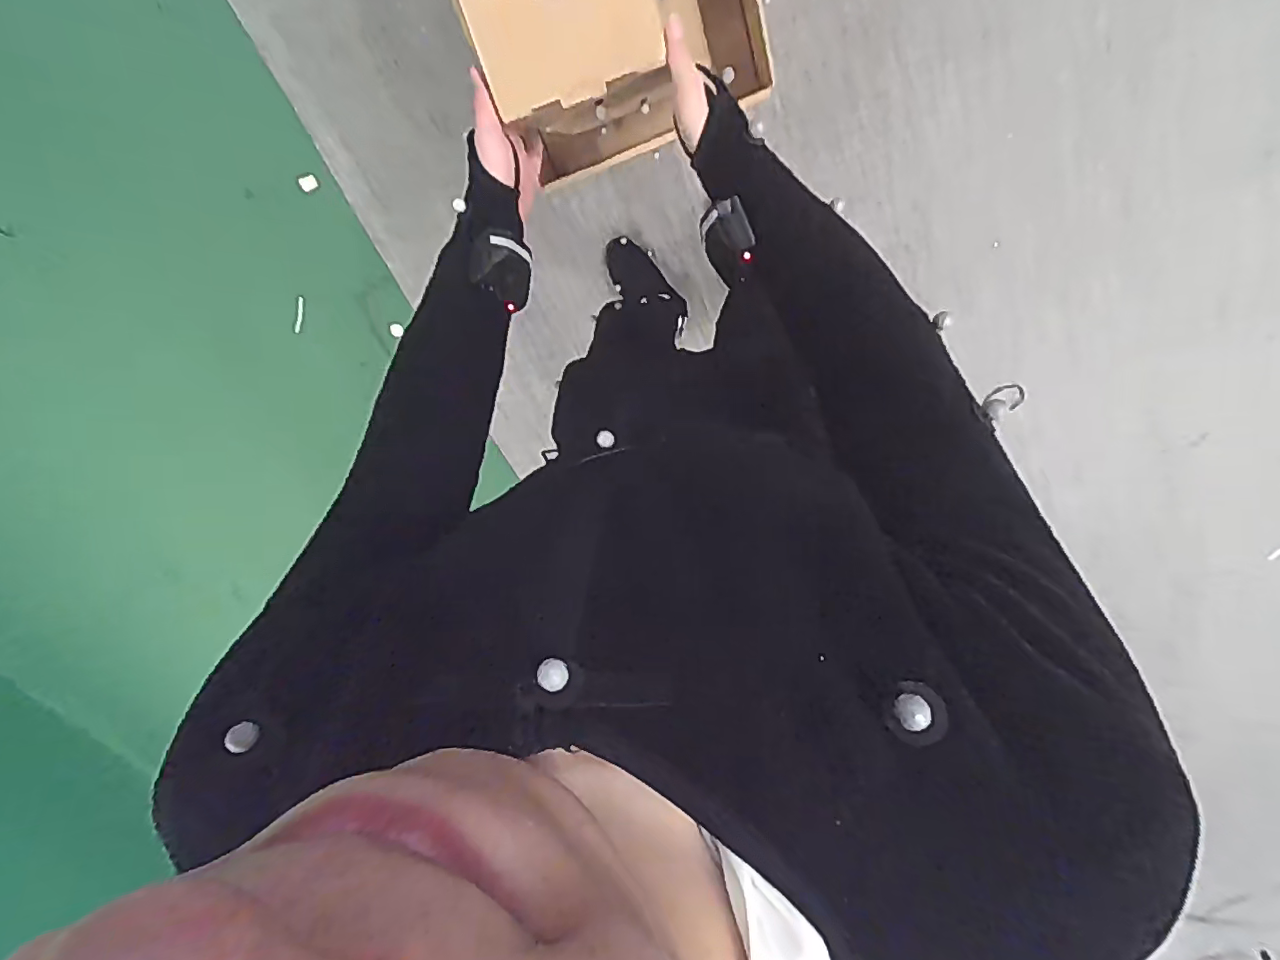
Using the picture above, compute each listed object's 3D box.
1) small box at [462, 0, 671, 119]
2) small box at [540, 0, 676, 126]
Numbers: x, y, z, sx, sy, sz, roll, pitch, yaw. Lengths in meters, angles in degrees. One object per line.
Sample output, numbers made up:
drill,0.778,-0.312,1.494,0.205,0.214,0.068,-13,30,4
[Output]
small box,-0.068,-0.471,0.518,0.168,0.176,0.179,-11,121,12
small box,-0.055,-0.556,0.658,0.168,0.176,0.179,-12,120,13
